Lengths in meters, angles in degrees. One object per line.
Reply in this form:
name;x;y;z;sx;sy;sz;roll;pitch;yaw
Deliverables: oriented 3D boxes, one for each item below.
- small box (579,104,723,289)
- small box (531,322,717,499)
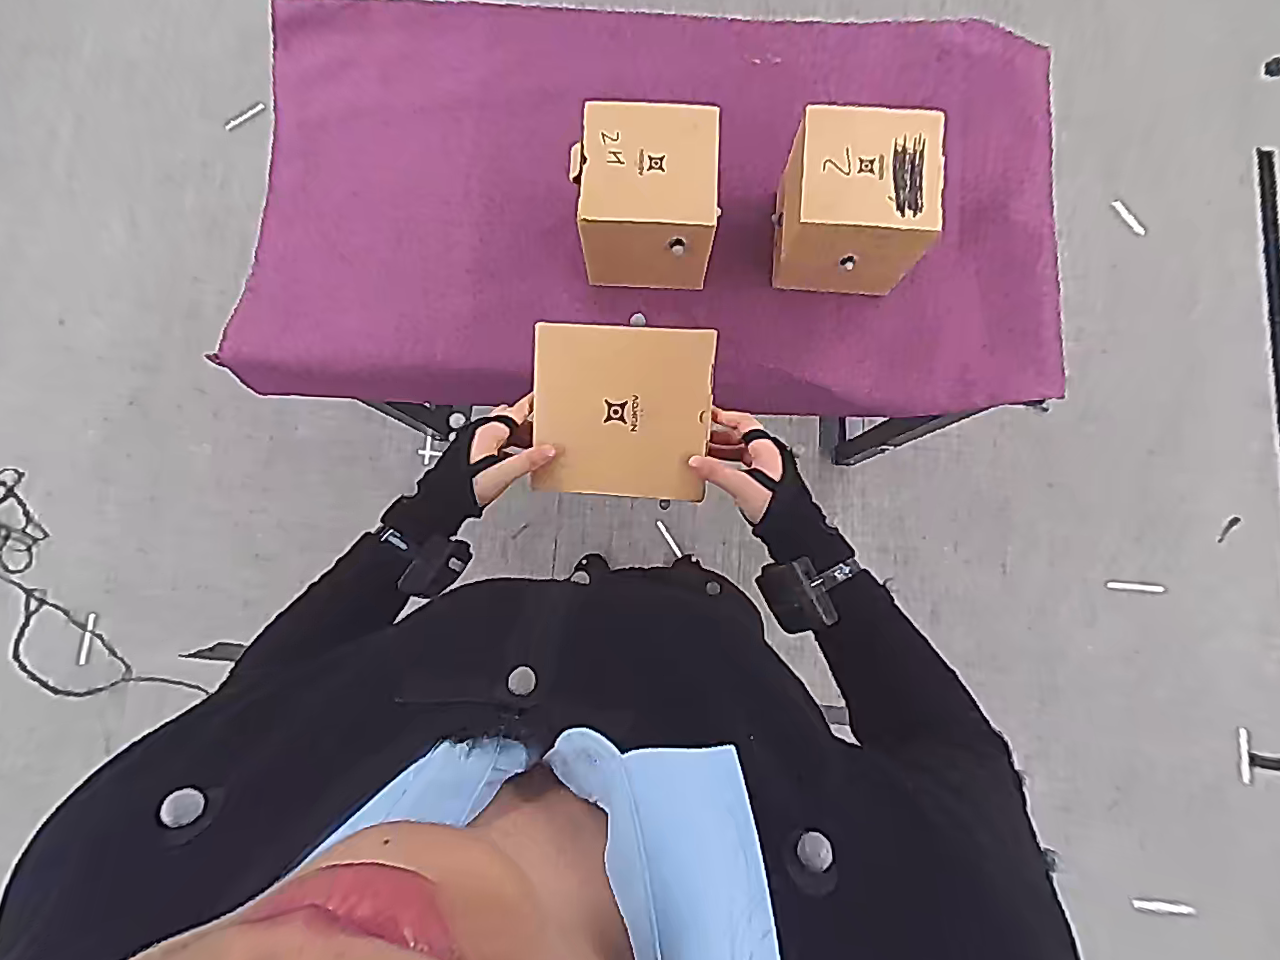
small box;0.015;-0.384;0.759;0.179;0.176;0.168;2;82;1
small box;-0.011;-0.075;0.601;0.179;0.176;0.168;3;97;4
